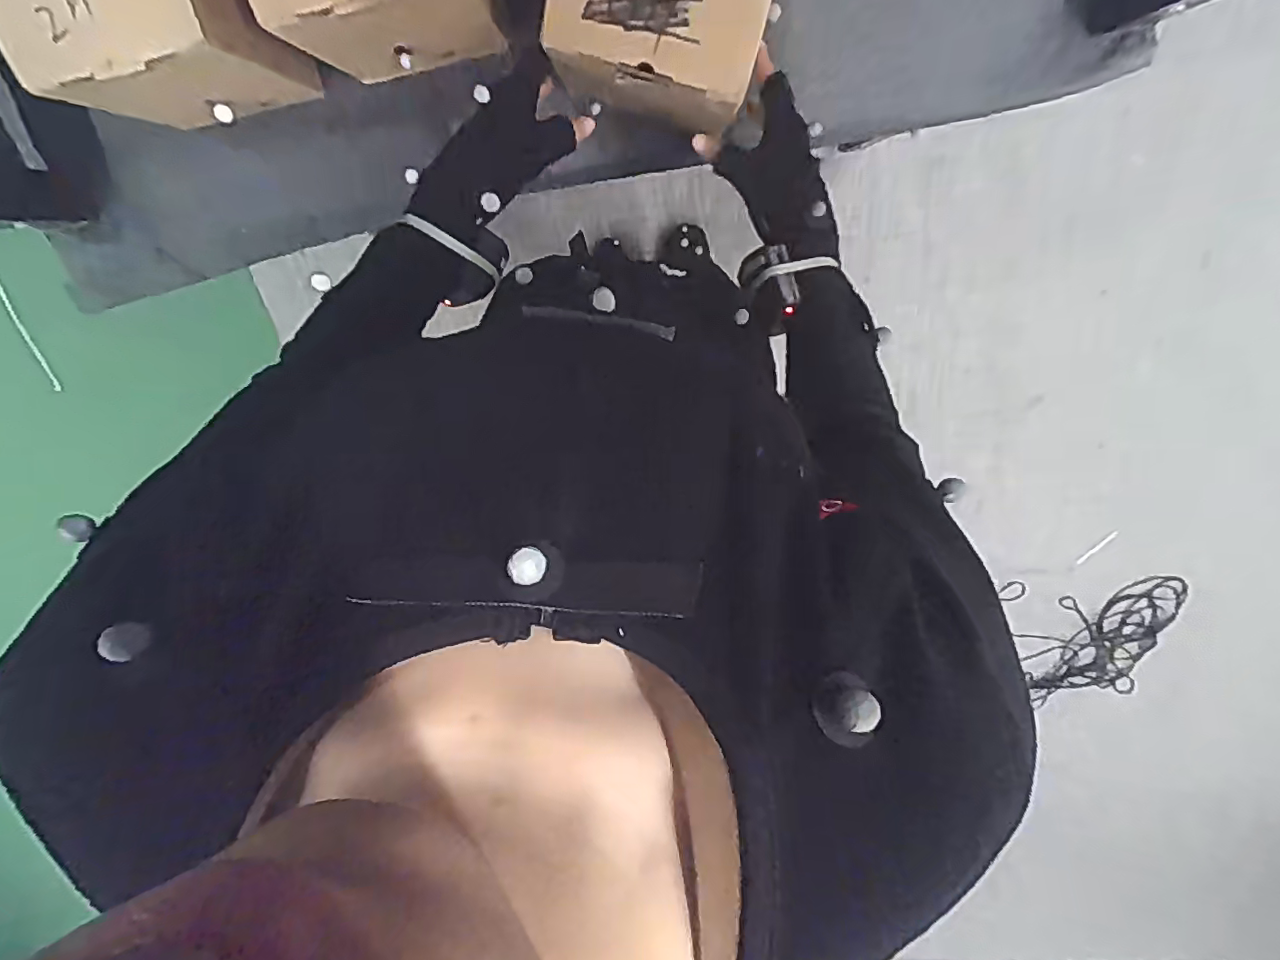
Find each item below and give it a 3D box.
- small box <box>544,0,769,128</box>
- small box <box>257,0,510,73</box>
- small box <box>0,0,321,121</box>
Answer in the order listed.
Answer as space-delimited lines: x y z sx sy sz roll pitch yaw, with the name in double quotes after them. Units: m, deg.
0.027 -0.431 0.462 0.168 0.176 0.179 13 112 -5 "small box"
-0.223 -0.478 0.448 0.168 0.176 0.179 -9 115 5 "small box"
-0.423 -0.441 0.465 0.168 0.176 0.179 -9 114 5 "small box"
